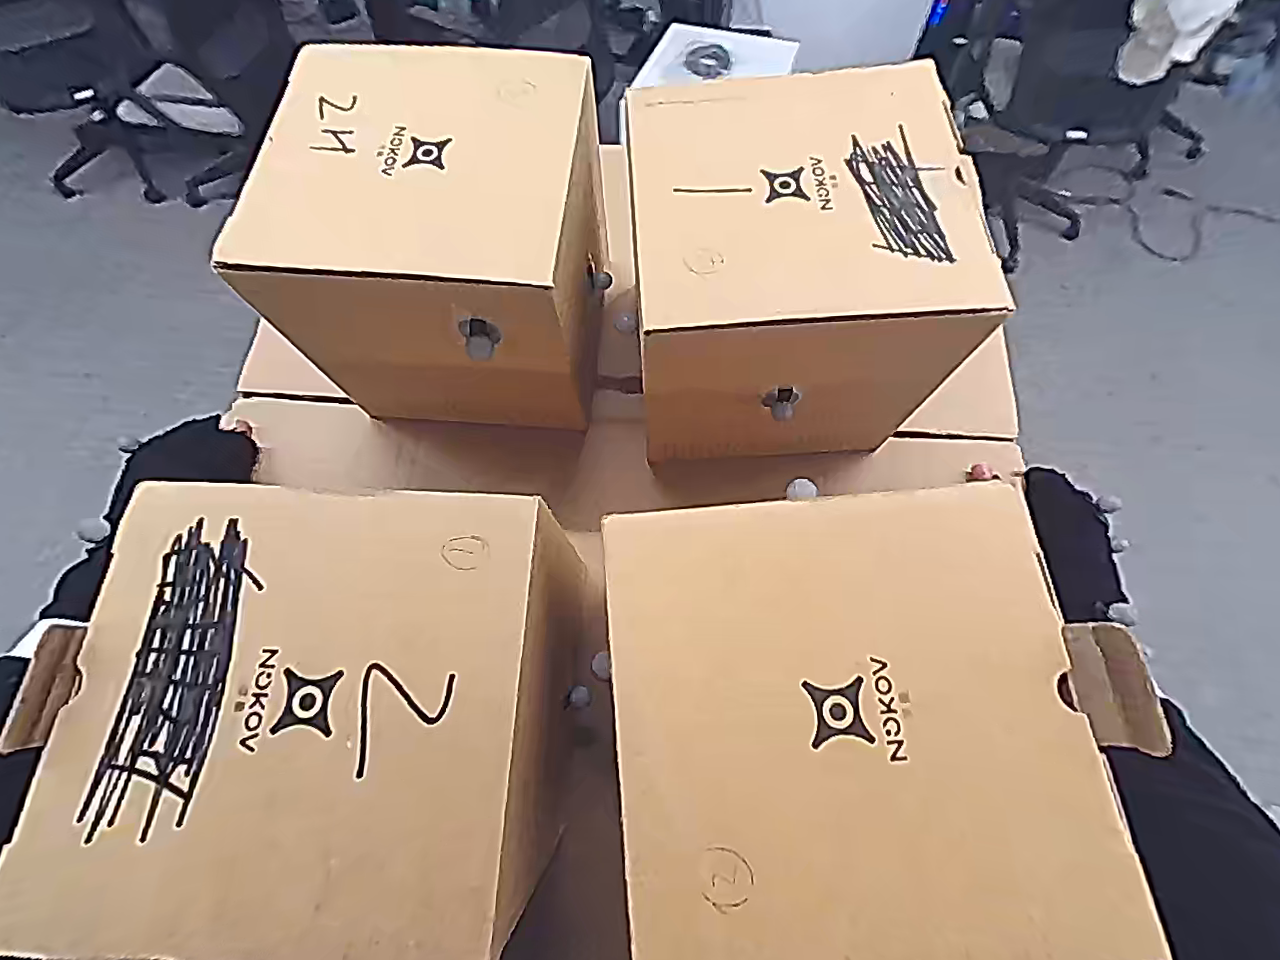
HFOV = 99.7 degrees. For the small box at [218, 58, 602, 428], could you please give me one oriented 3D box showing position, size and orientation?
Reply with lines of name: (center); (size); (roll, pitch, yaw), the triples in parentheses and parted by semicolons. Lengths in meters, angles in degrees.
small box: (-0.125, -0.147, 0.378); (0.179, 0.176, 0.168); (5, 70, 3)
